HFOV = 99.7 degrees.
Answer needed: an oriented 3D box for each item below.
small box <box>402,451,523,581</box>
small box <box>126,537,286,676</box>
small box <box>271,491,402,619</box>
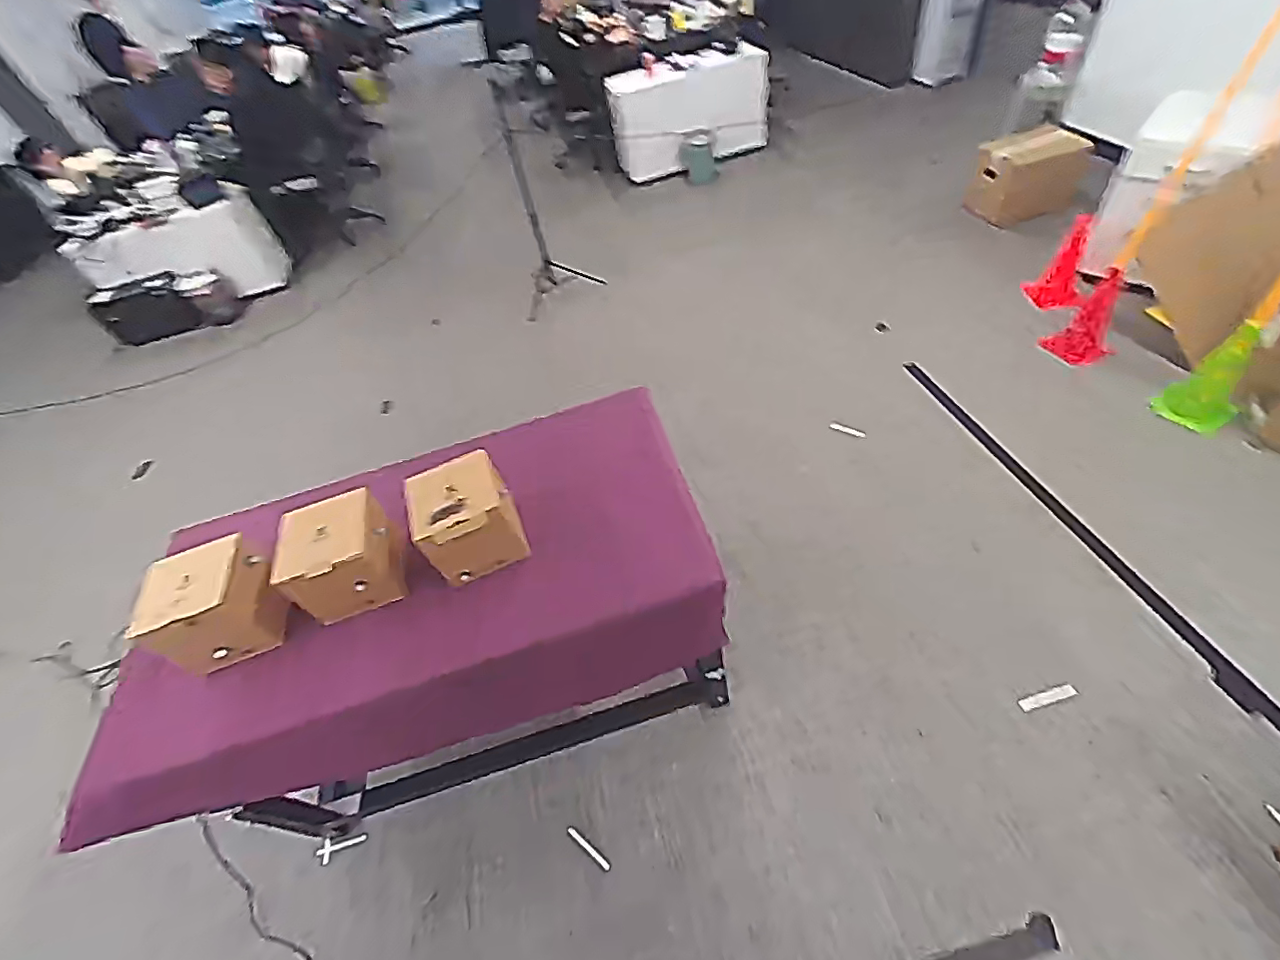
[{"bbox_3d":[-0.354,0.080,1.092,0.168,0.176,0.179,-24,49,-8],"label":"small box"},{"bbox_3d":[-0.826,0.249,1.055,0.168,0.176,0.179,-22,49,-5],"label":"small box"},{"bbox_3d":[-0.594,0.158,1.083,0.168,0.176,0.179,-20,48,-5],"label":"small box"}]
